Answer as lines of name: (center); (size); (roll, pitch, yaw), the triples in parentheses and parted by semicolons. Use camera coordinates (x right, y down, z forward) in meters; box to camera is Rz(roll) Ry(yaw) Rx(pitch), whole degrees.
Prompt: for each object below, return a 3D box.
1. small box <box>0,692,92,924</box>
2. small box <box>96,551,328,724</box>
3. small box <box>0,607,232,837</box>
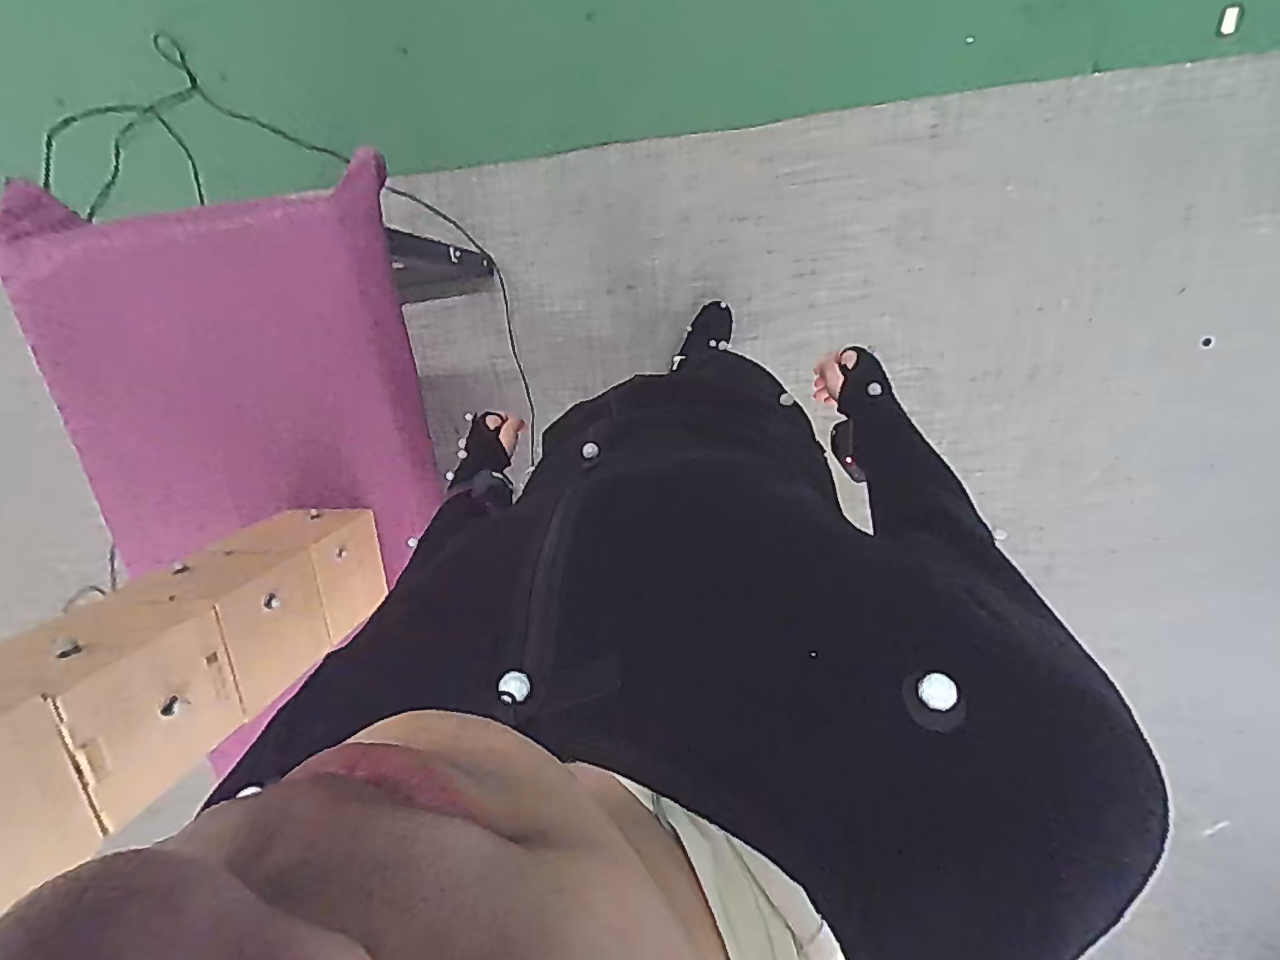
small box: (-0.613, 0.295, 0.435); (0.168, 0.176, 0.179); (-3, 104, 7)
small box: (-0.571, 0.207, 0.748); (0.168, 0.176, 0.179); (-1, 106, 6)
small box: (-0.594, 0.250, 0.593); (0.179, 0.176, 0.168); (-1, 105, 6)
